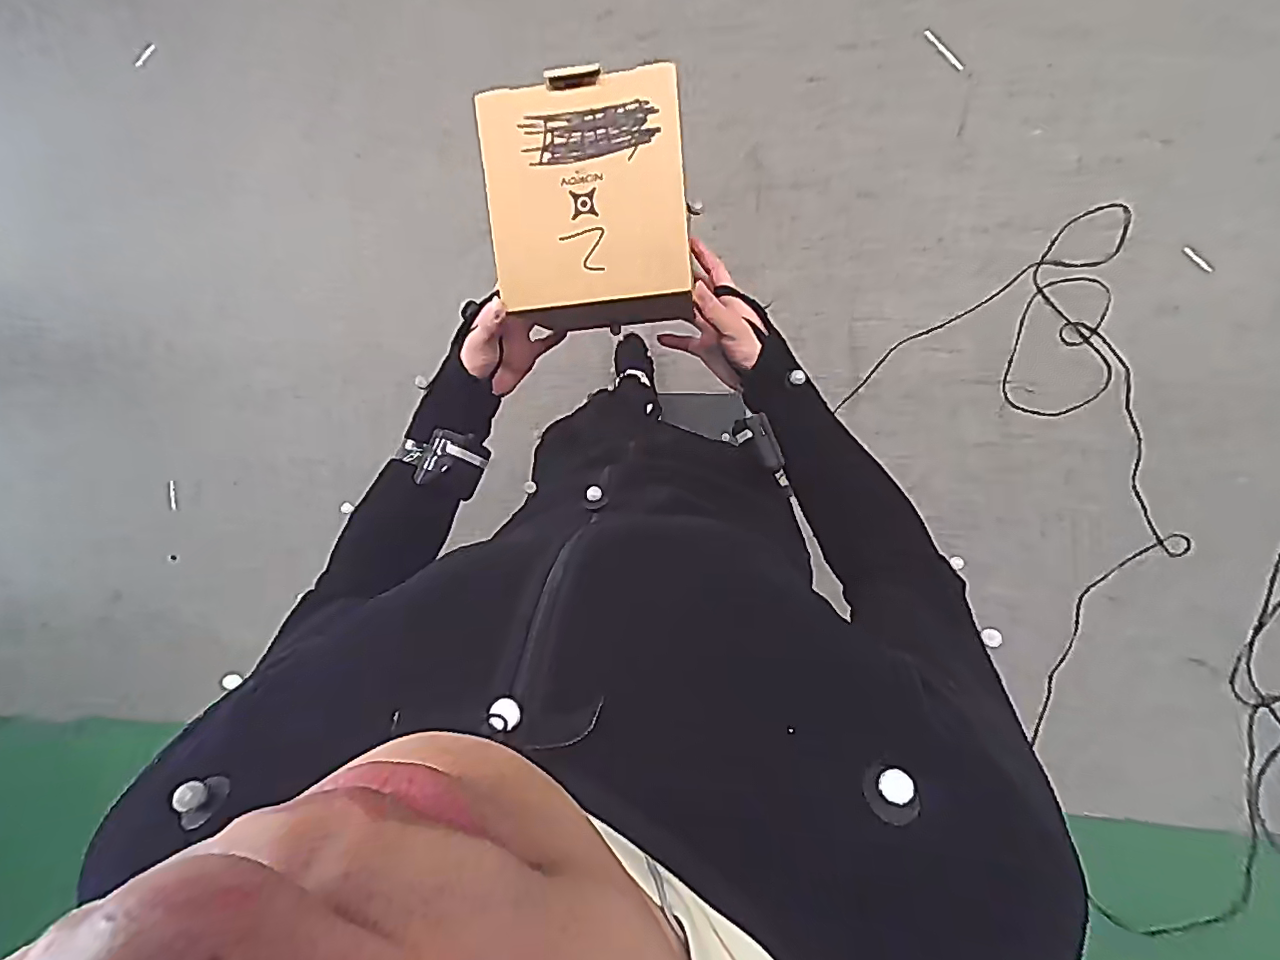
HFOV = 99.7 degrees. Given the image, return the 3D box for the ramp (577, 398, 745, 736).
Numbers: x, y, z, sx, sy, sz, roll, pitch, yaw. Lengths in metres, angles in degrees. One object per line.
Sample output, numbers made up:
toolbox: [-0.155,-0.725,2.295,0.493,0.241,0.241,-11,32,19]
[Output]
ramp: [0.062,0.246,1.628,0.509,0.206,0.991,0,97,8]
